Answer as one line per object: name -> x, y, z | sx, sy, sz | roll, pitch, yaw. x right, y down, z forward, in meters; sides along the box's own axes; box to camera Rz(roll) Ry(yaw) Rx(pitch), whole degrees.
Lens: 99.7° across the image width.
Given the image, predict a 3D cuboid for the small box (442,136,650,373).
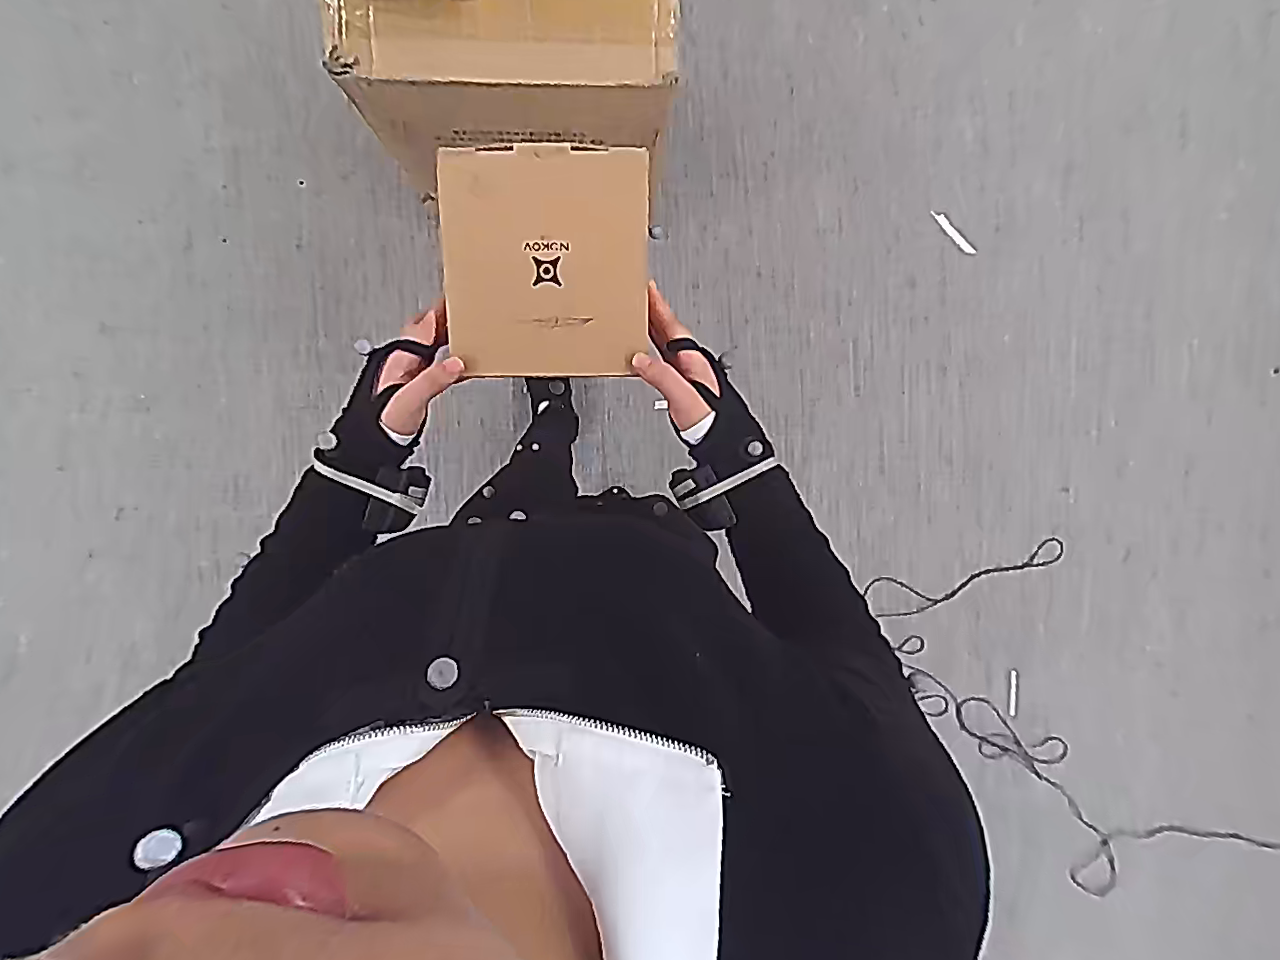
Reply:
small box -> -0.077, -0.195, 0.515 | 0.168, 0.176, 0.179 | 0, 100, -1
